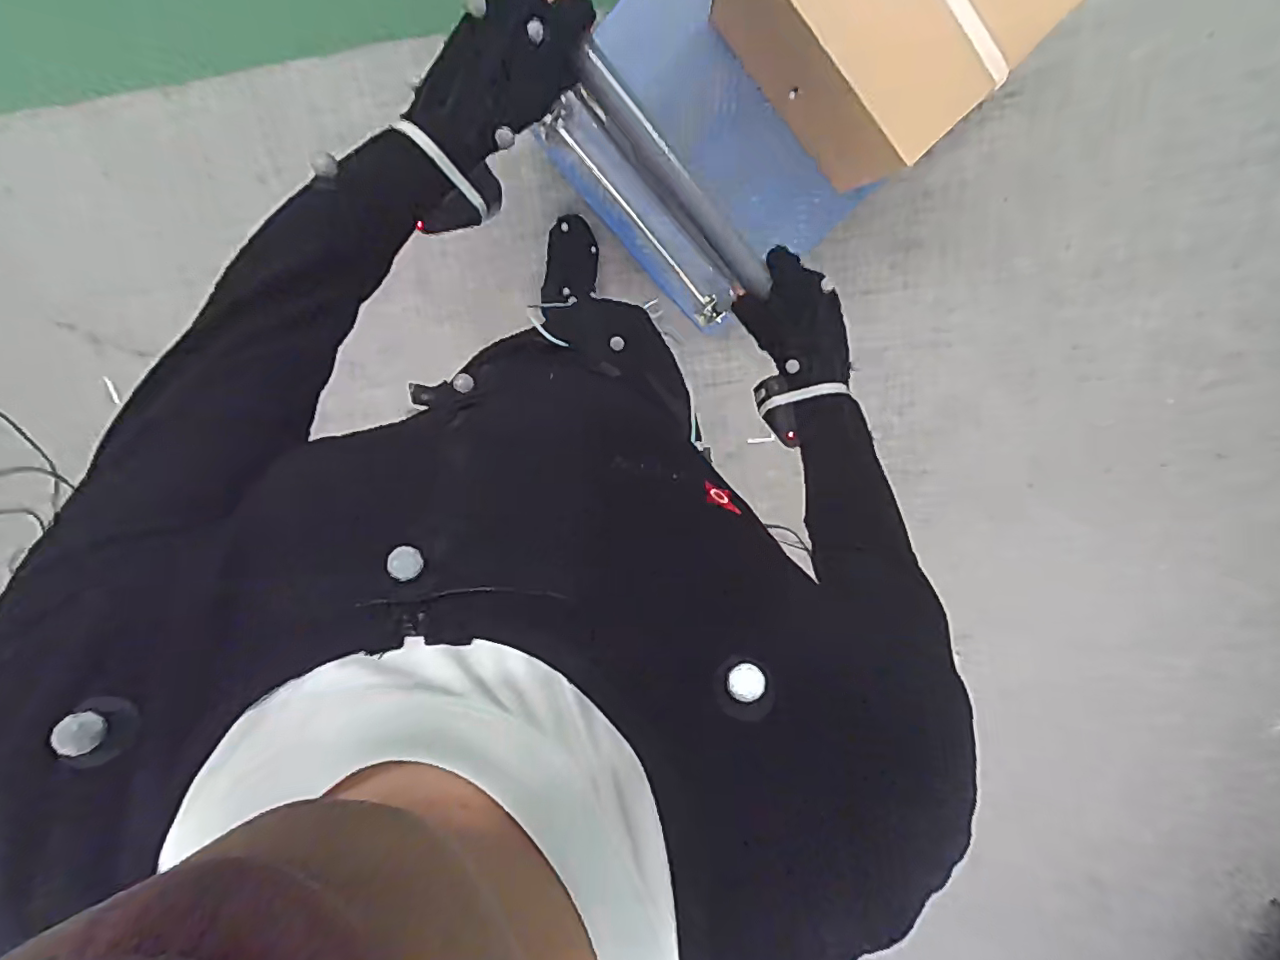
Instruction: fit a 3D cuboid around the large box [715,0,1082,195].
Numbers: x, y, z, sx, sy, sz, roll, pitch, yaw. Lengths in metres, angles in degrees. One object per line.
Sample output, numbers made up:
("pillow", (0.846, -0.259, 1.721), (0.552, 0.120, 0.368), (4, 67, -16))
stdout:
("large box", (0.380, -0.753, 0.881), (0.408, 0.320, 0.320), (43, 104, -14))
